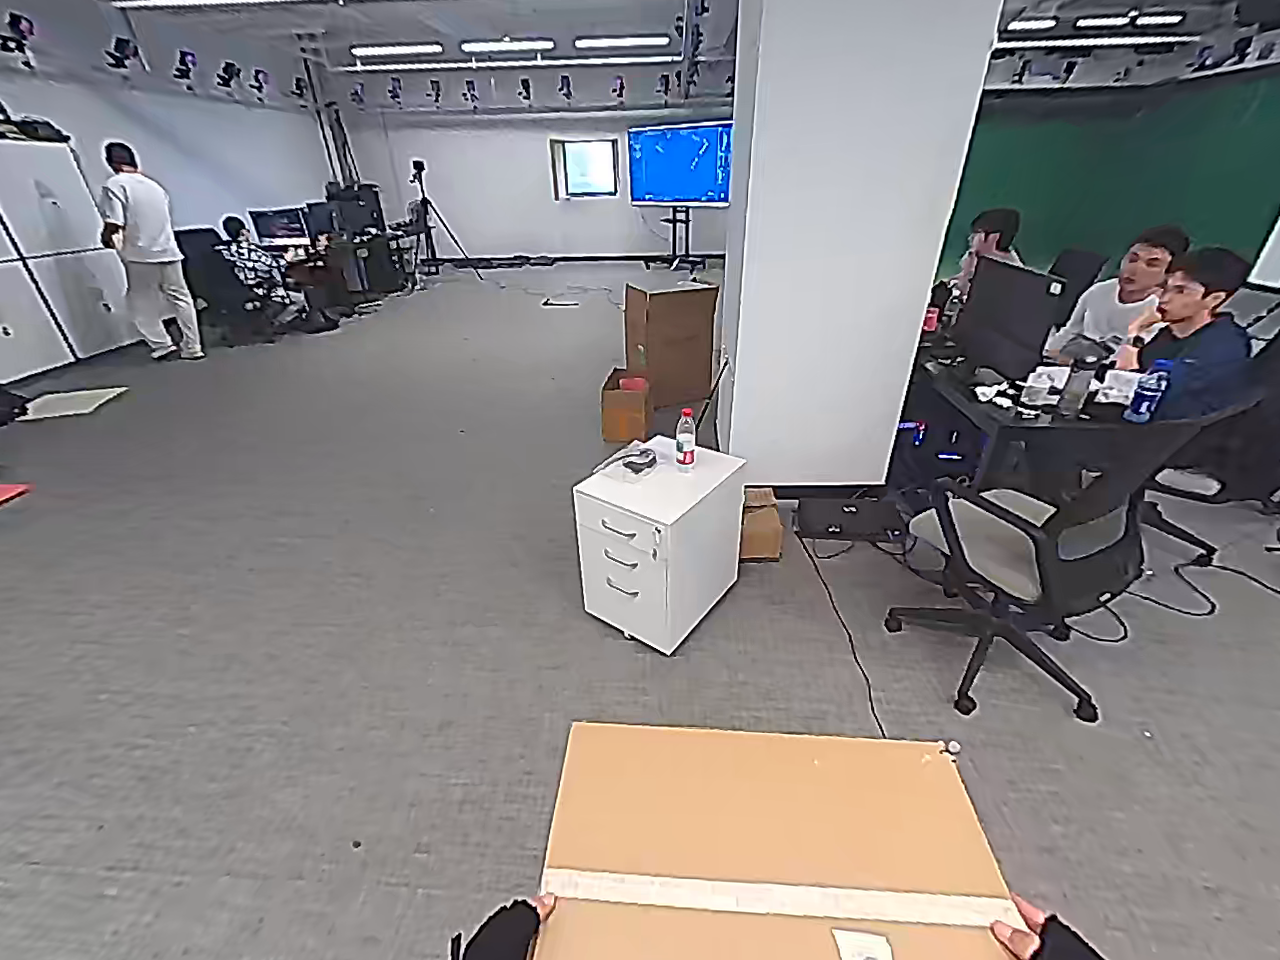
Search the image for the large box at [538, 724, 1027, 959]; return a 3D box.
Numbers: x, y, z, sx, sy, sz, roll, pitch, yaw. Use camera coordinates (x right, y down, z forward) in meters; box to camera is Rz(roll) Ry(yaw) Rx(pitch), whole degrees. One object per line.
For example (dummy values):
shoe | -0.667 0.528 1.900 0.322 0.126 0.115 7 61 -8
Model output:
large box | 0.118 0.491 0.556 0.408 0.320 0.320 2 33 4
